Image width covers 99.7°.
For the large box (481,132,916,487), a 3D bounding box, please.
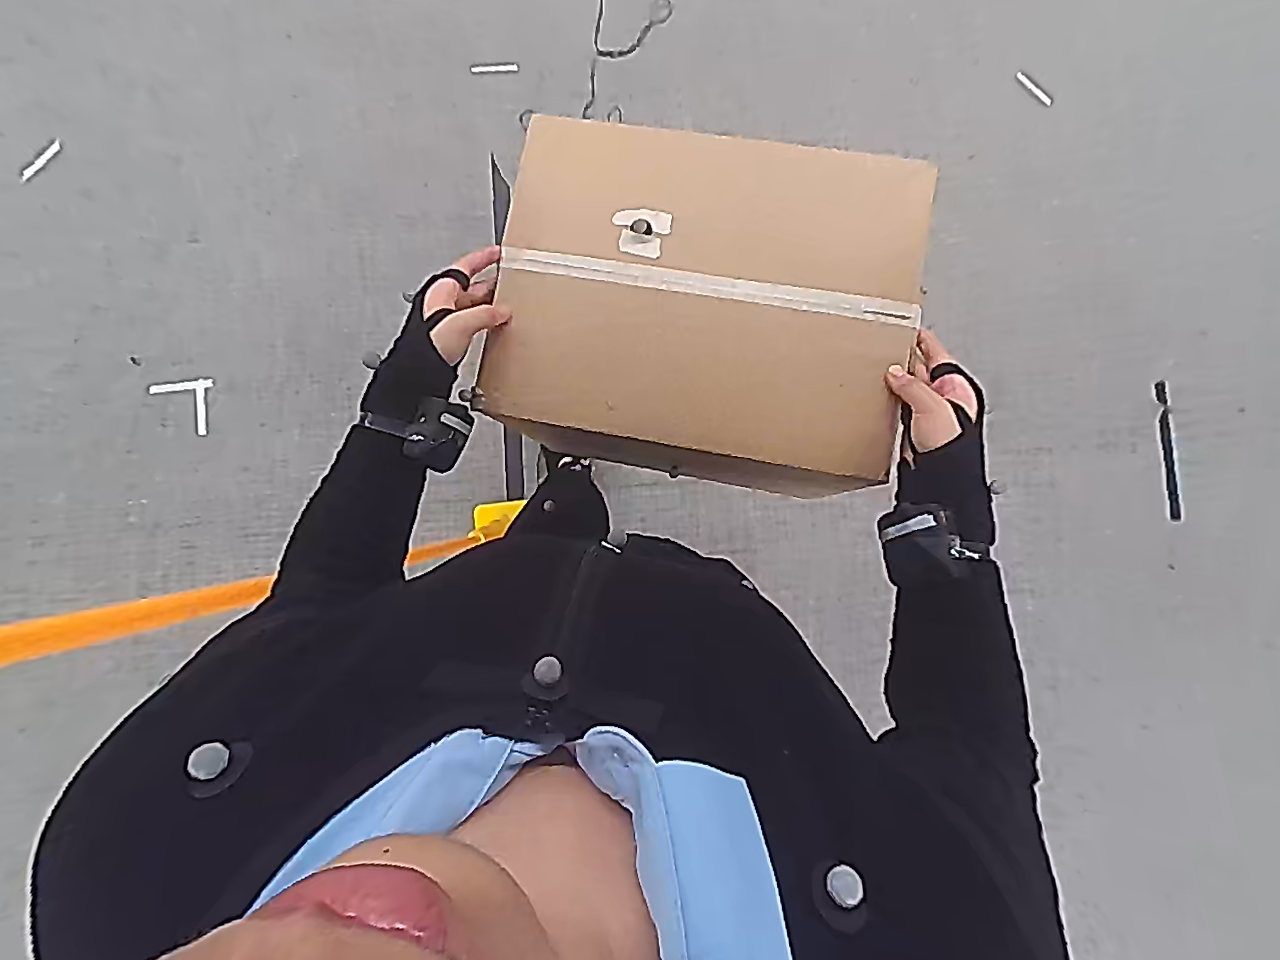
[{"bbox_3d":[0.070,-0.177,0.688,0.408,0.320,0.320,10,85,6],"label":"large box"}]
